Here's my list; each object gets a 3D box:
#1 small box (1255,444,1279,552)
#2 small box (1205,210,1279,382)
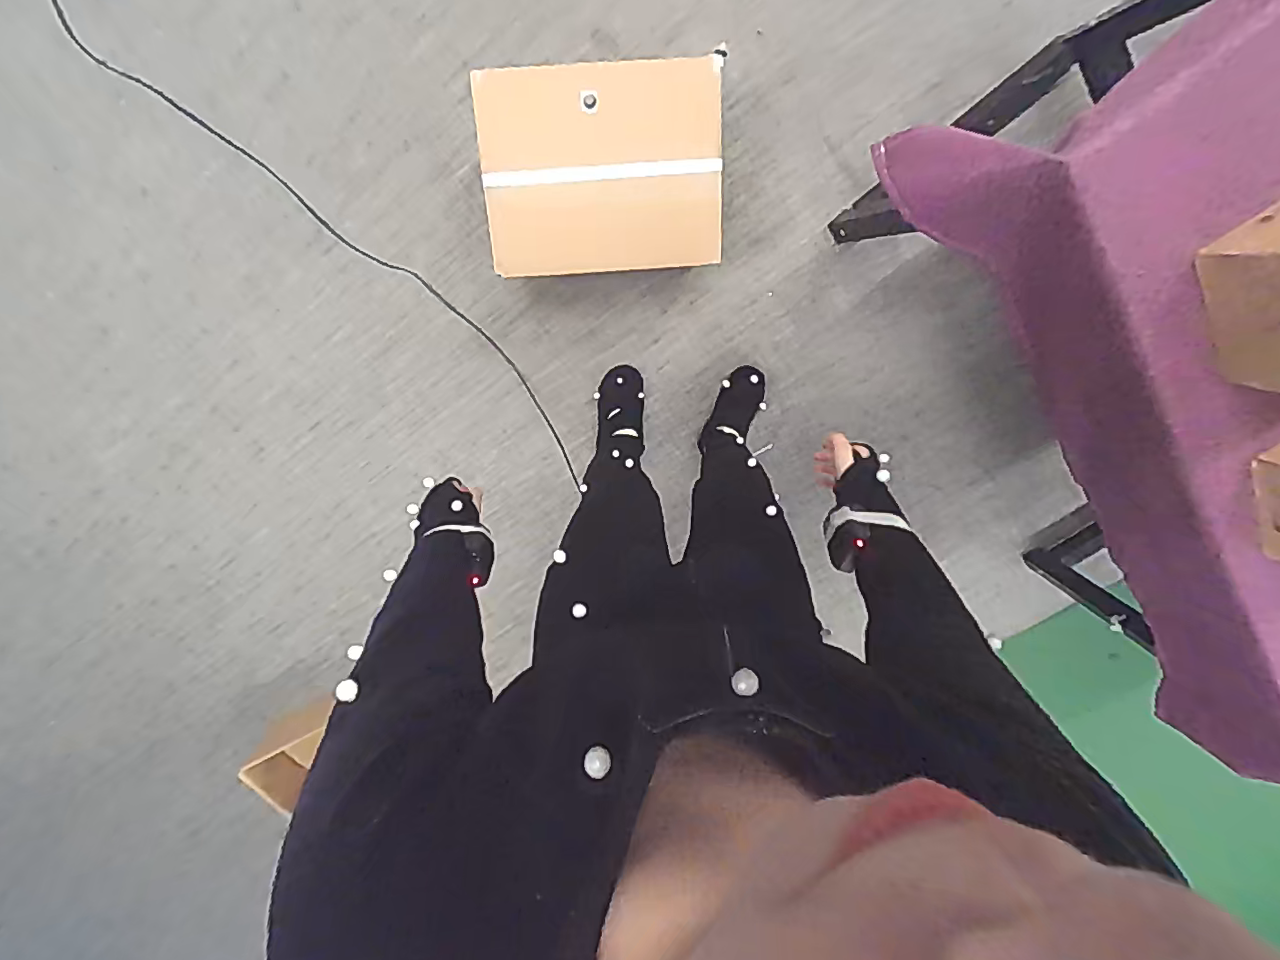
[{"bbox_3d":[0.900,0.022,0.630,0.179,0.176,0.168,-28,110,9],"label":"small box"},{"bbox_3d":[0.727,-0.199,0.531,0.168,0.176,0.179,-33,109,11],"label":"small box"}]
